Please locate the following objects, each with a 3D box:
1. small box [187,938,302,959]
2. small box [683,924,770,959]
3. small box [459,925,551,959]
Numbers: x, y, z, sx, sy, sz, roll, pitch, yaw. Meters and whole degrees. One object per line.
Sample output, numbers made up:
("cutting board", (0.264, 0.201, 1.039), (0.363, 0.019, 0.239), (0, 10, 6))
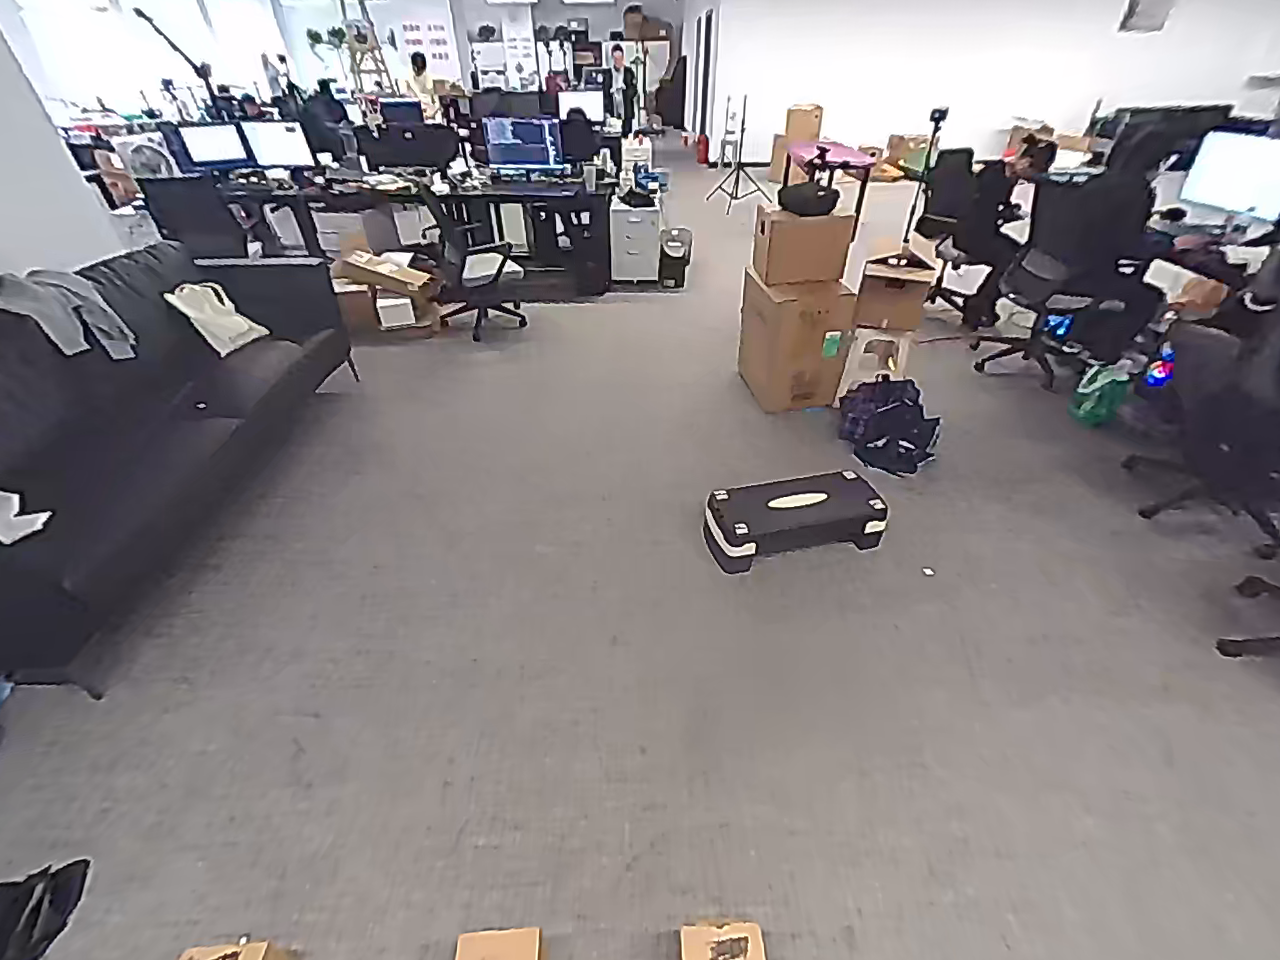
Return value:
("small box", (-0.814, 1.048, 1.078), (0.168, 0.176, 0.179), (-2, 38, -2))
("small box", (0.174, 1.017, 1.073), (0.168, 0.176, 0.179), (-3, 38, 0))
("small box", (-0.273, 1.030, 1.082), (0.168, 0.176, 0.179), (-3, 36, -3))
